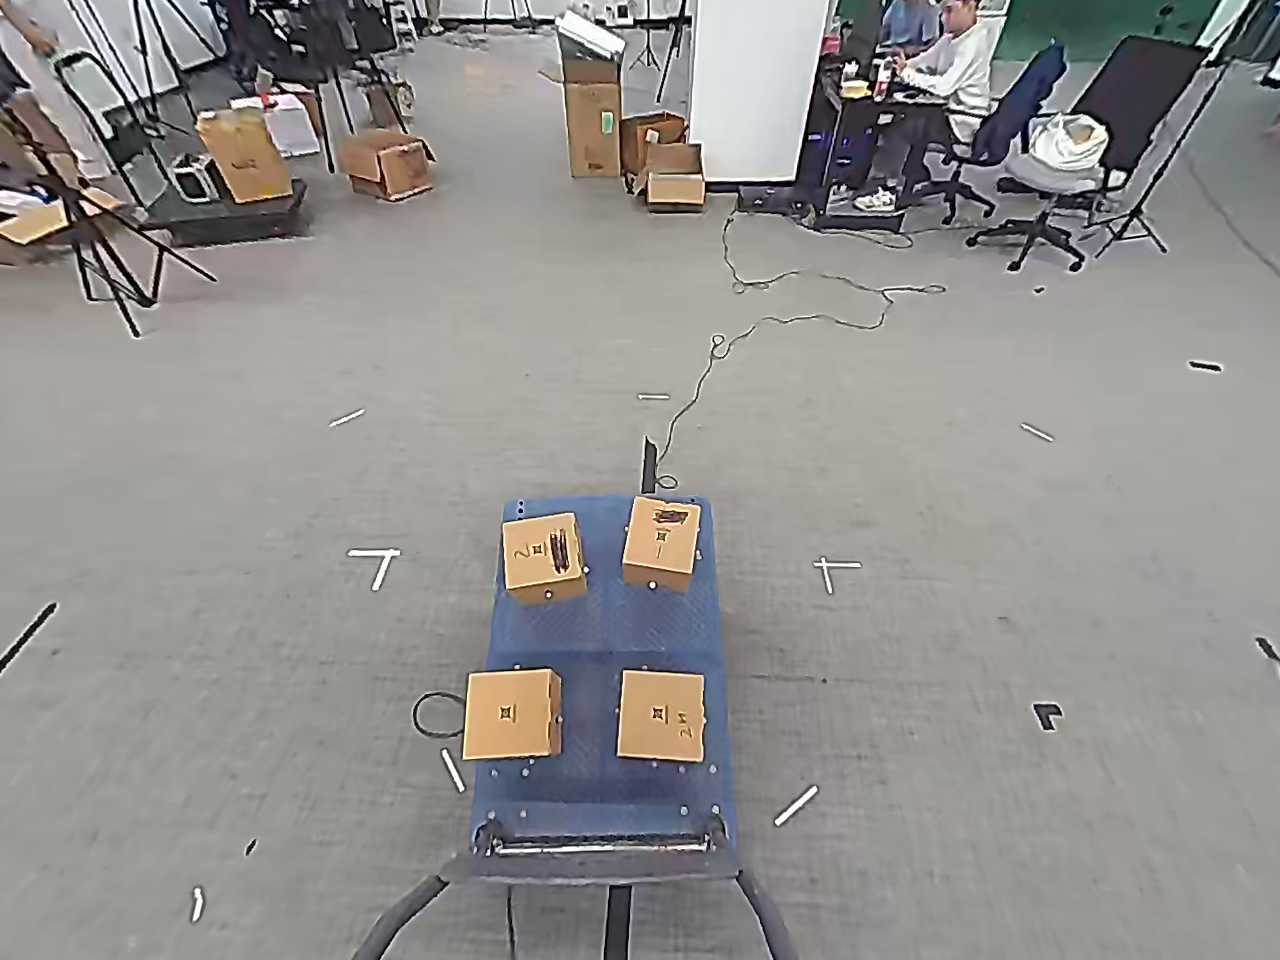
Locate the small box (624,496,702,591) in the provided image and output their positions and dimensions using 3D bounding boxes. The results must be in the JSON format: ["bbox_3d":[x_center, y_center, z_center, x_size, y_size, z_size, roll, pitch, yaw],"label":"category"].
[{"bbox_3d":[0.056,0.163,1.357,0.168,0.176,0.179,9,65,5],"label":"small box"}]

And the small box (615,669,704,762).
[{"bbox_3d":[0.044,0.517,1.181,0.179,0.176,0.168,4,64,2],"label":"small box"}]

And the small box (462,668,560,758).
[{"bbox_3d":[-0.273,0.513,1.184,0.179,0.176,0.168,-2,63,-3],"label":"small box"}]
